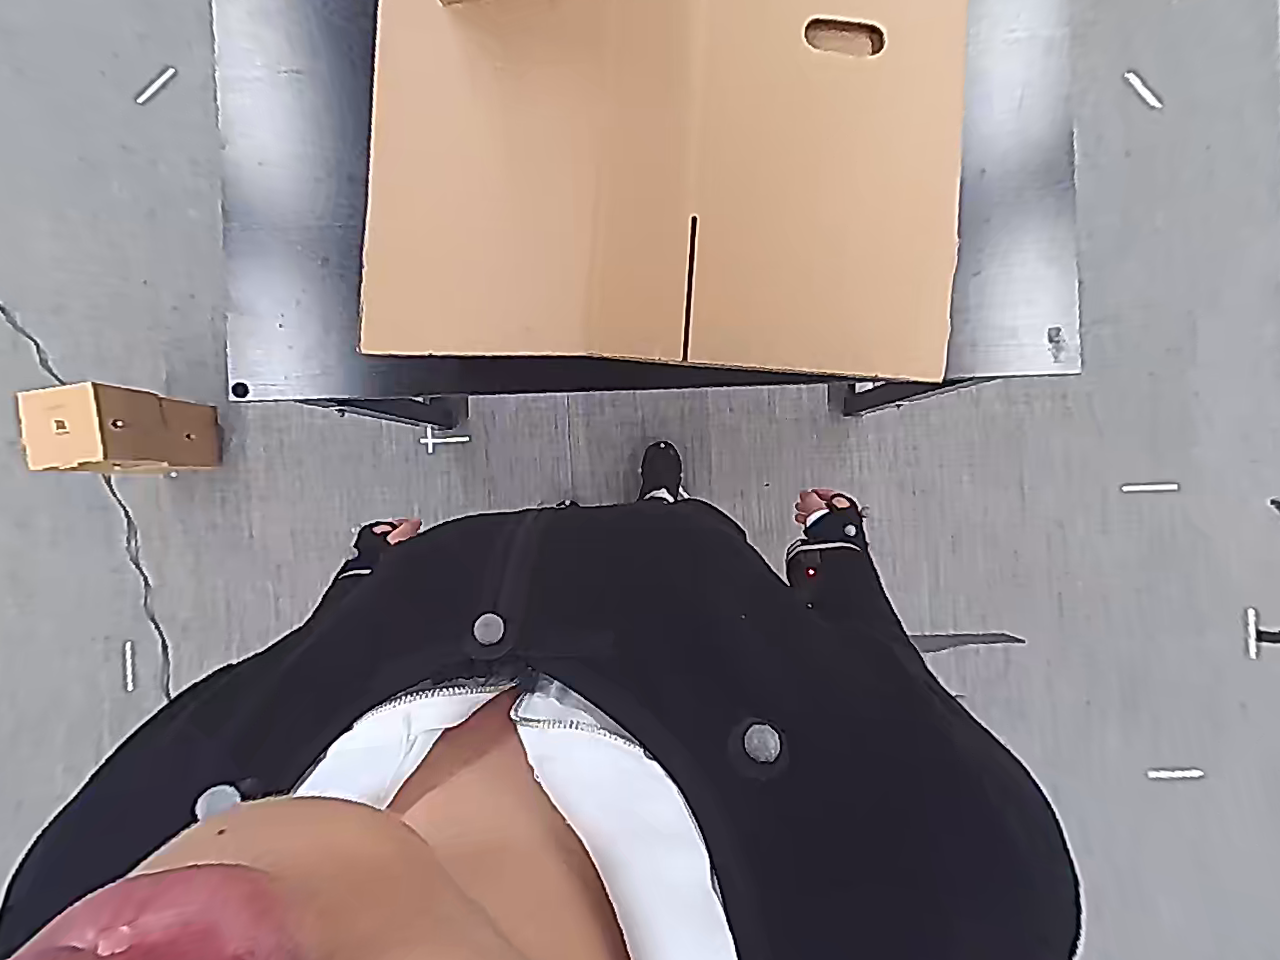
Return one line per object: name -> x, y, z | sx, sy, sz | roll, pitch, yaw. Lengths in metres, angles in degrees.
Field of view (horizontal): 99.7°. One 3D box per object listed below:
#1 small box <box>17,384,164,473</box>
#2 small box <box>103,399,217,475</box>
small box -> -1.256, -0.112, 1.250 | 0.168, 0.176, 0.179 | -9, 89, -1
small box -> -1.254, -0.107, 1.413 | 0.168, 0.176, 0.179 | -6, 91, 0
